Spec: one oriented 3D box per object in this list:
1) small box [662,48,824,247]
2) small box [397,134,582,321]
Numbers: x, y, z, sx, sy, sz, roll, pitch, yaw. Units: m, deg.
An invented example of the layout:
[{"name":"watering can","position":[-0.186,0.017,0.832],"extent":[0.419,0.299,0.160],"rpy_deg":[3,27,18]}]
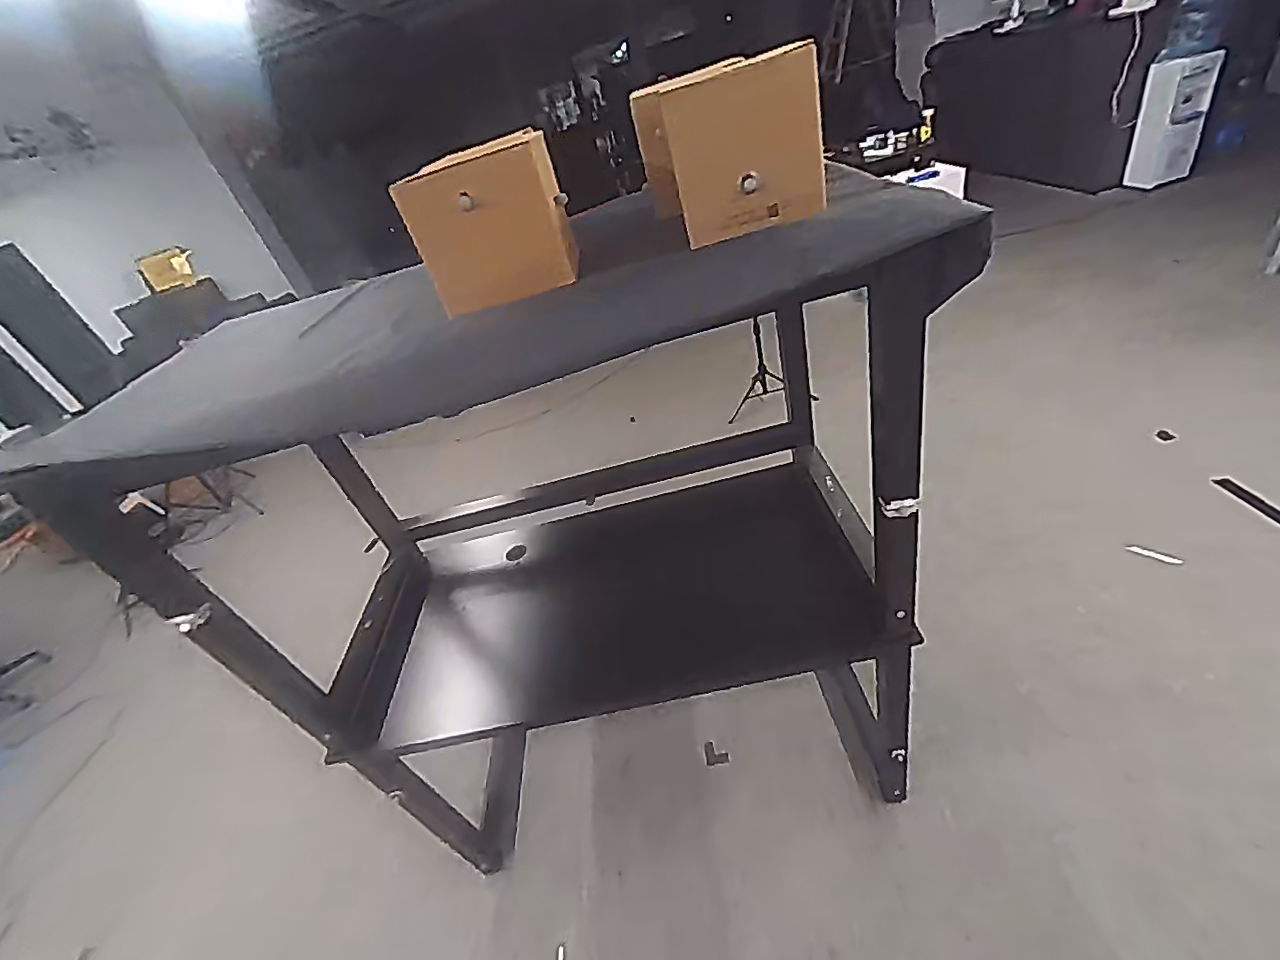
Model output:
[{"name":"small box","position":[0.129,-0.413,0.682],"extent":[0.168,0.176,0.179],"rpy_deg":[-10,36,12]},{"name":"small box","position":[-0.184,-0.339,0.727],"extent":[0.179,0.176,0.168],"rpy_deg":[-15,35,6]}]
